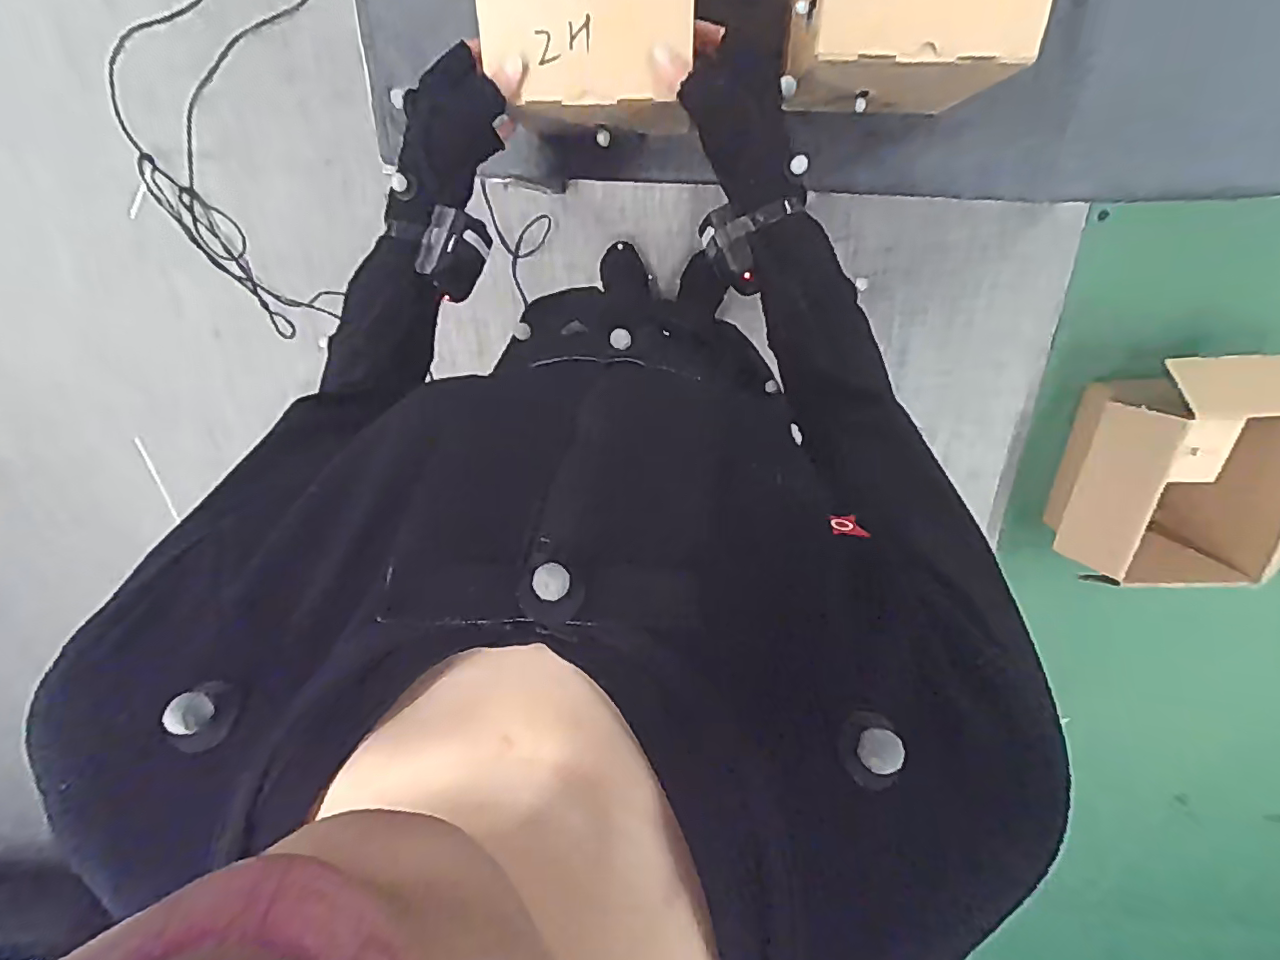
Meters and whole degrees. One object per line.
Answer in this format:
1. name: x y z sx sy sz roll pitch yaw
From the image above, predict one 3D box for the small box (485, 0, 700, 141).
1. small box: -0.033 -0.412 0.474 0.168 0.176 0.179 1 115 3
